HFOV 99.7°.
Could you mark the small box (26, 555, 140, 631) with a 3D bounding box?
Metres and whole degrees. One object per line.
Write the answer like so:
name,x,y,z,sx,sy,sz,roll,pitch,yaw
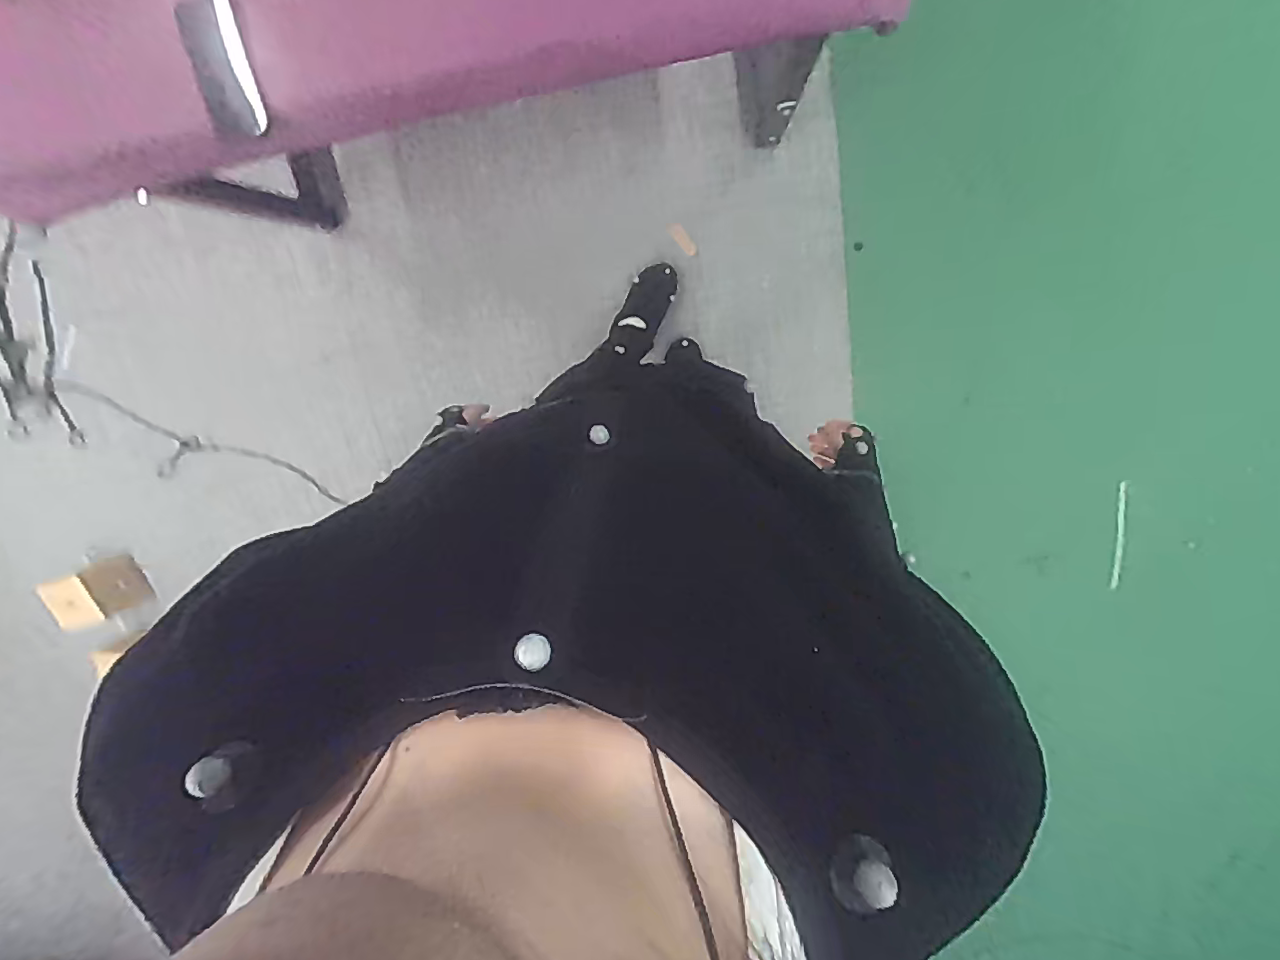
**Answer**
small box,-1.776,0.358,1.742,0.179,0.176,0.168,-14,105,10
